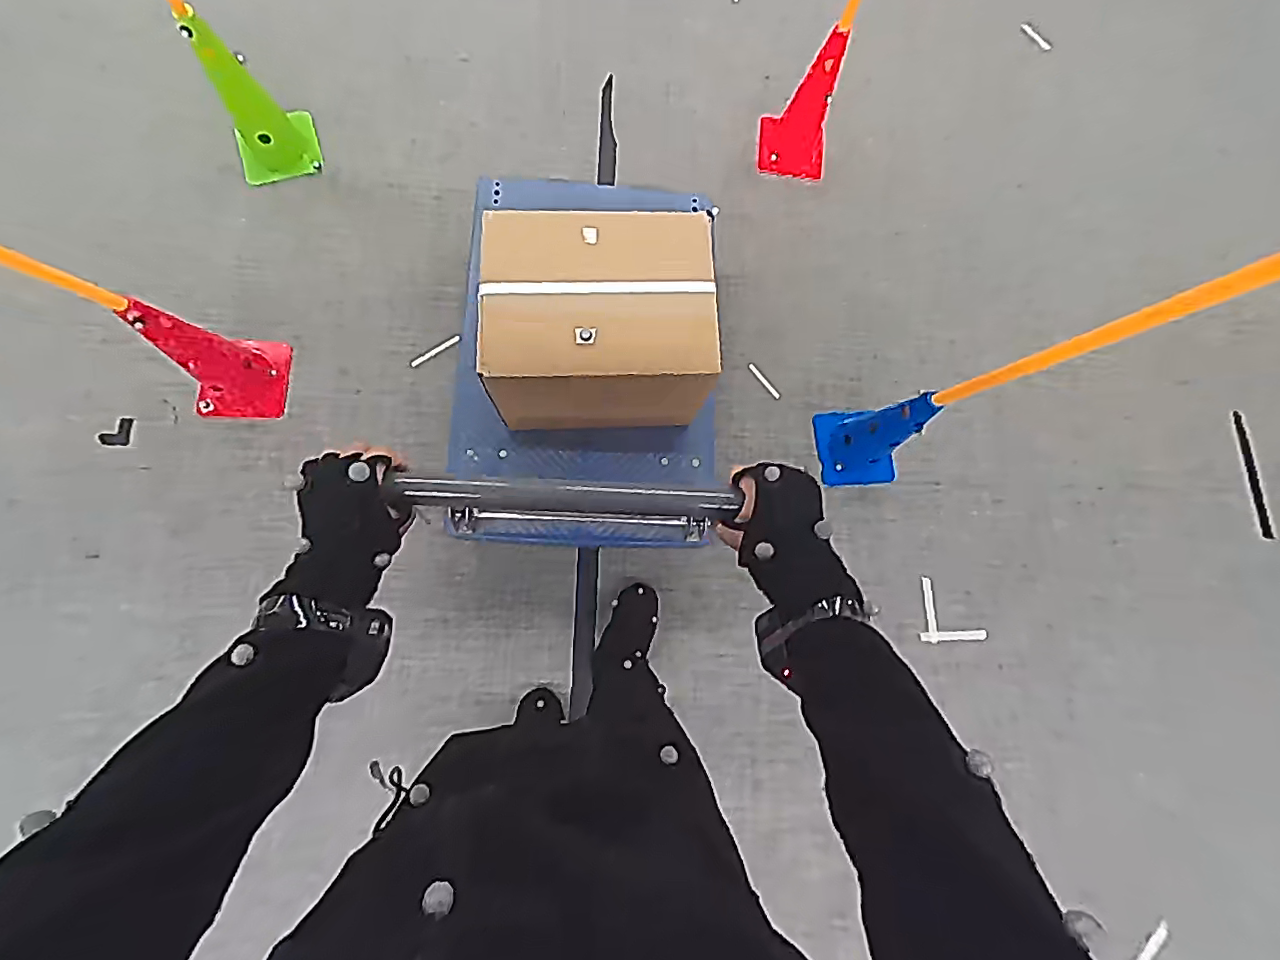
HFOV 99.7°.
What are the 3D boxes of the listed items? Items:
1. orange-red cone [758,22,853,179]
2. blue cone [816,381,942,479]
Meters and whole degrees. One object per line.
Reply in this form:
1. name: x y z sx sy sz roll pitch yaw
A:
1. orange-red cone: 0.467 -1.022 1.433 0.199 0.360 0.198 8 78 -4
2. blue cone: 0.582 -0.133 1.270 0.193 0.380 0.192 -2 77 -6
